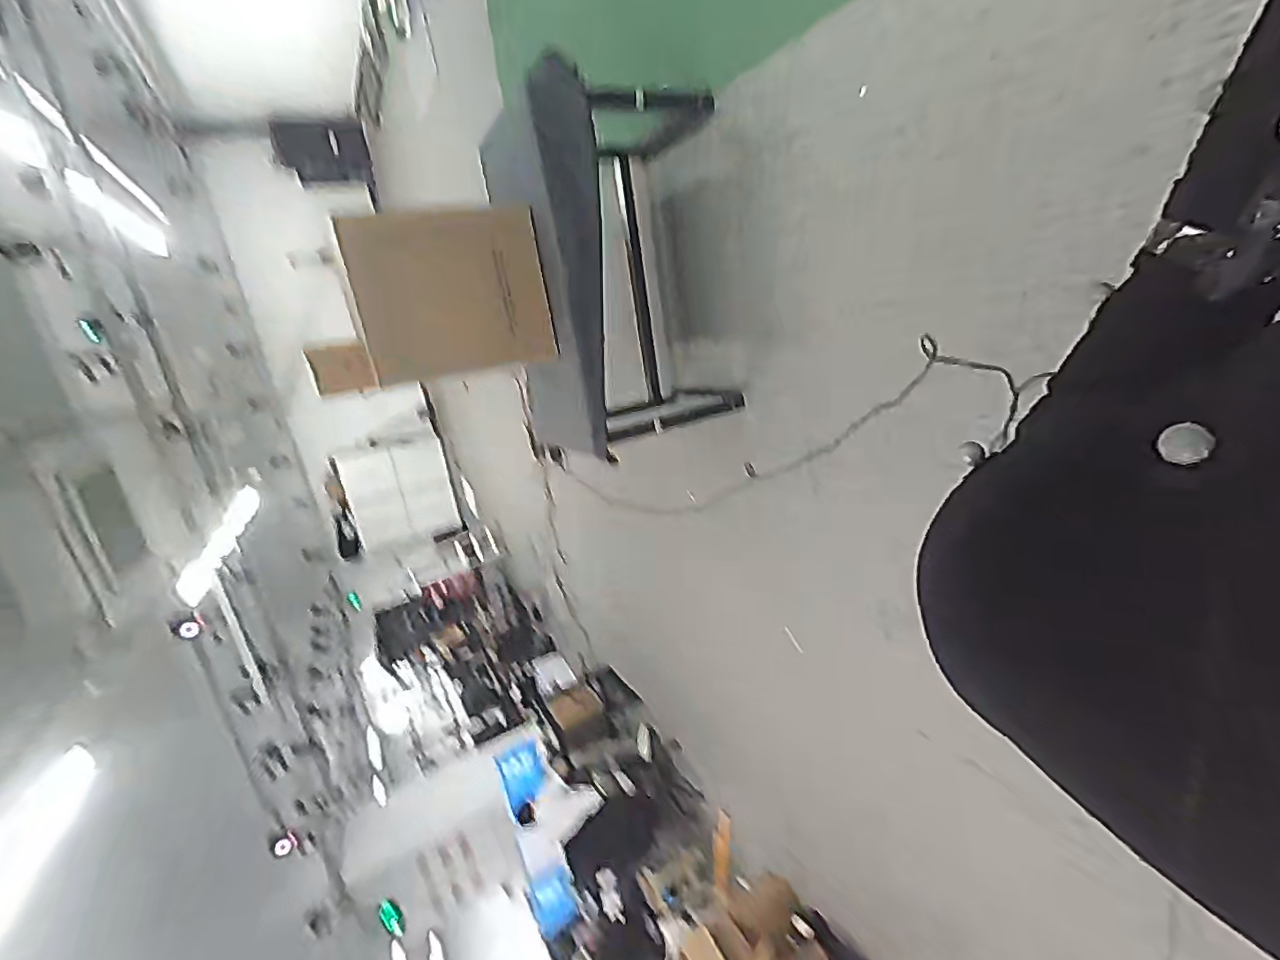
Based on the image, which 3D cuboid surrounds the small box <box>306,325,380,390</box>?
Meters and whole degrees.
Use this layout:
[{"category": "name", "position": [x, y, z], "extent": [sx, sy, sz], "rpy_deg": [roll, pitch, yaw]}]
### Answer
[{"category": "small box", "position": [-0.963, -0.398, 1.759], "extent": [0.179, 0.176, 0.168], "rpy_deg": [7, 114, 60]}]
